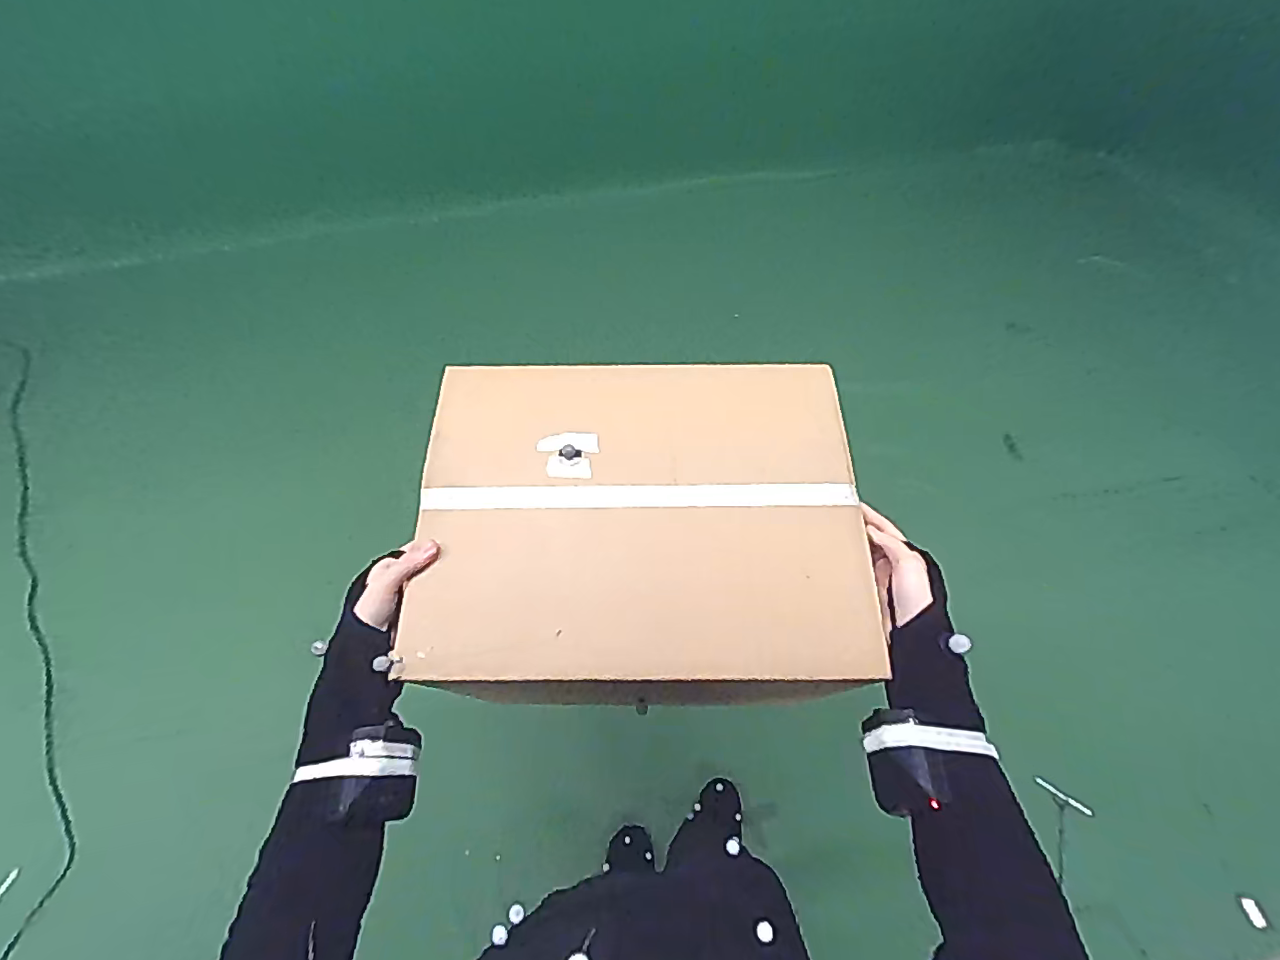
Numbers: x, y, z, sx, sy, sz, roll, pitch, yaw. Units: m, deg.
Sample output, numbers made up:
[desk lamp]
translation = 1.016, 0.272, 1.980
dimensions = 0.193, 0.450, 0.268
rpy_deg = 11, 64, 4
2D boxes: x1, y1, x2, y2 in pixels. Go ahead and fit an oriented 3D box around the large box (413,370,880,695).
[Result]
[large box]
translation = 0.009, 0.087, 0.652
dimensions = 0.408, 0.320, 0.320
rpy_deg = 0, 64, 2
